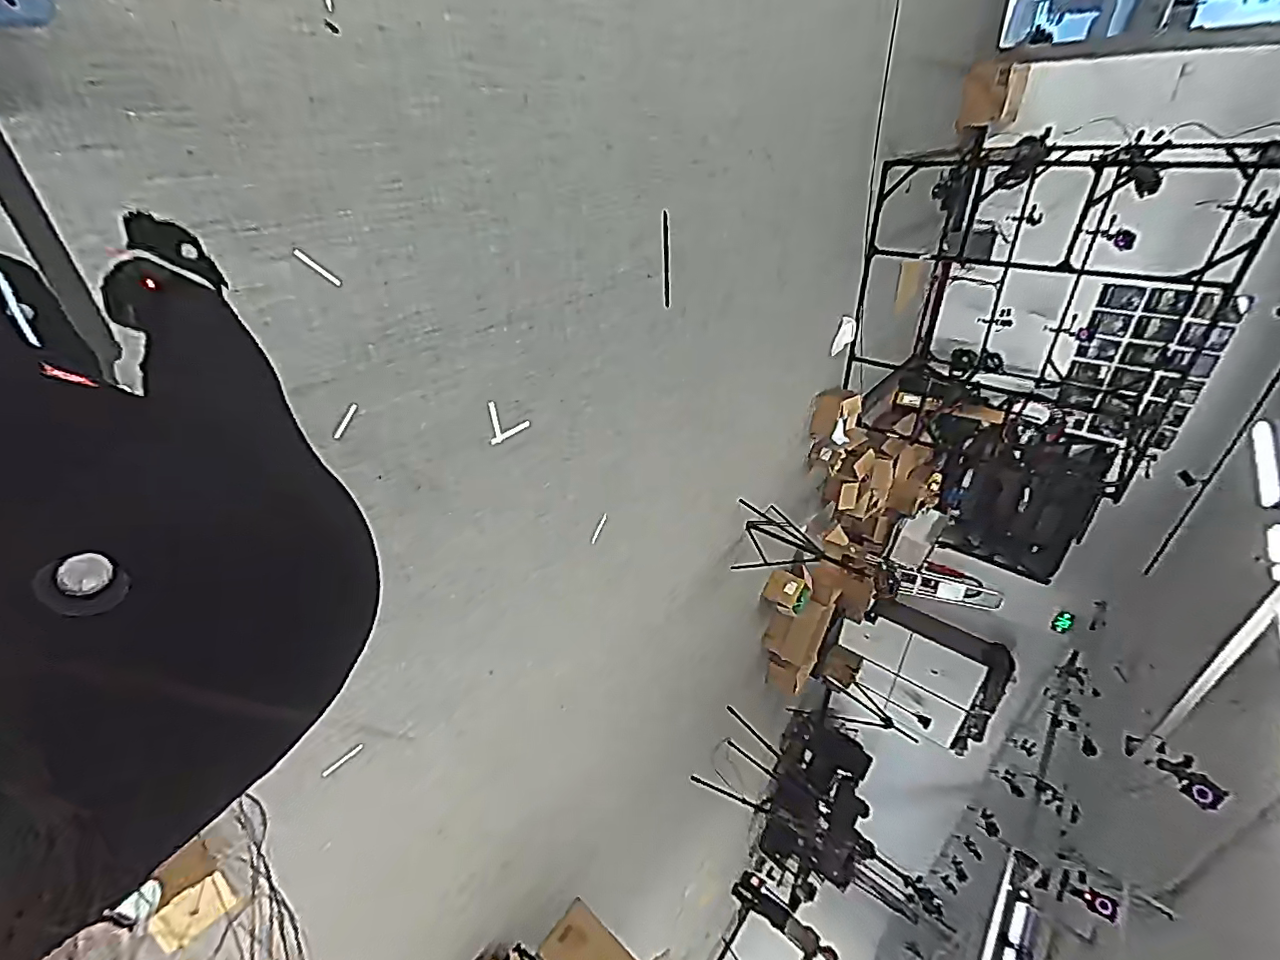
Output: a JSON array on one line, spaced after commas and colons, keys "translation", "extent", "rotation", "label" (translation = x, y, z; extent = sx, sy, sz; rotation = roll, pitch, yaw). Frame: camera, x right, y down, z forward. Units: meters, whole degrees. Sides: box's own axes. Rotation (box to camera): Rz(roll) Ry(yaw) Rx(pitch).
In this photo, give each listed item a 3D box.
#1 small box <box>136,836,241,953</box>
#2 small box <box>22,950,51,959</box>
[{"translation": [-1.262, 1.144, 1.510], "extent": [0.168, 0.176, 0.179], "rotation": [-27, 130, -43], "label": "small box"}, {"translation": [-1.491, 1.284, 1.279], "extent": [0.179, 0.176, 0.168], "rotation": [-25, 128, -45], "label": "small box"}]
